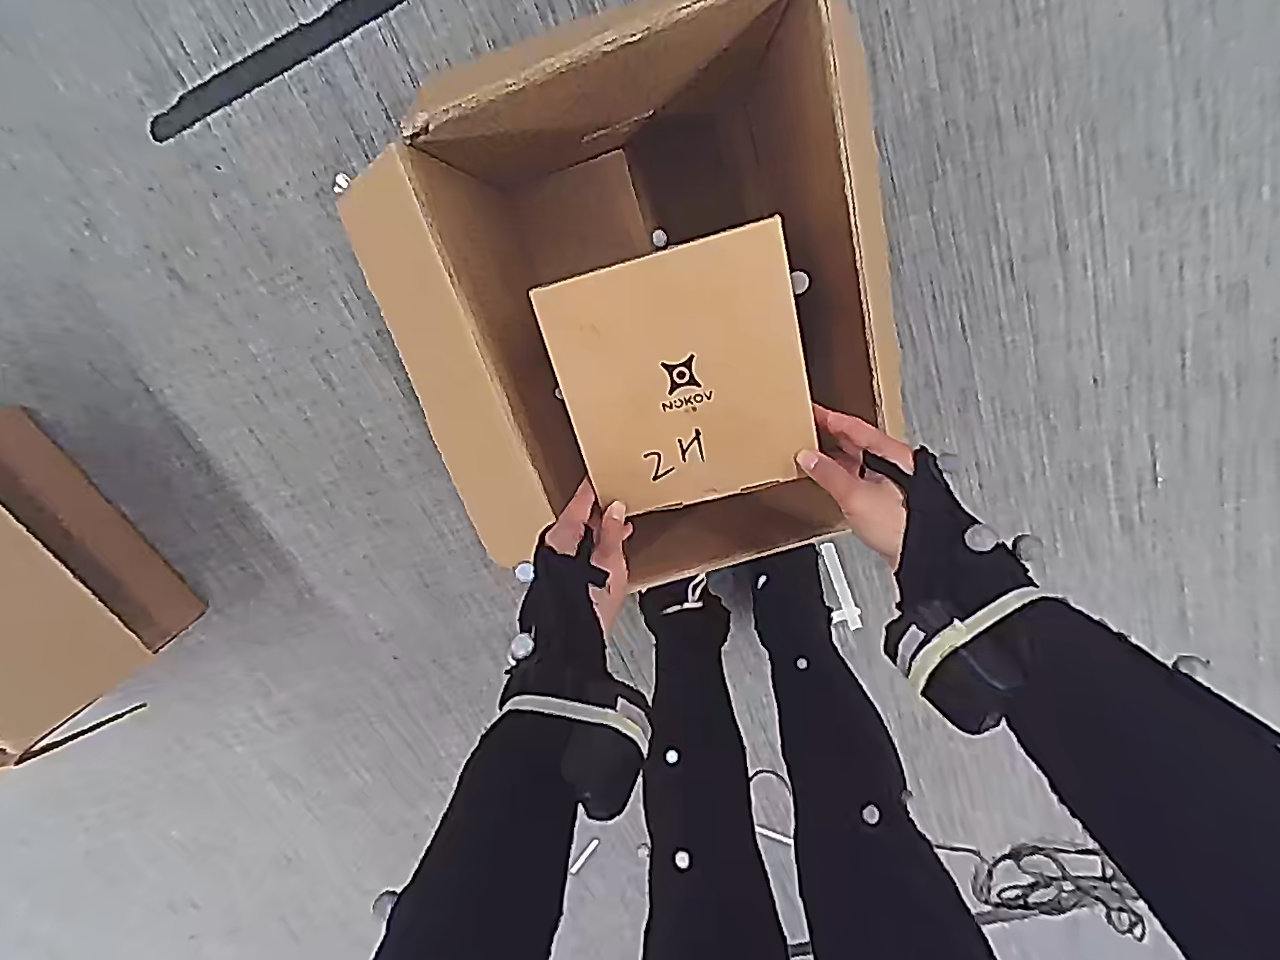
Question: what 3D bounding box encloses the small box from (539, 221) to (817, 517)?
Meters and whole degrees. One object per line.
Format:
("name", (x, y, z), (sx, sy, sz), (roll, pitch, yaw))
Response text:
("small box", (0.034, -0.095, 0.451), (0.168, 0.176, 0.179), (-13, 111, 9))
